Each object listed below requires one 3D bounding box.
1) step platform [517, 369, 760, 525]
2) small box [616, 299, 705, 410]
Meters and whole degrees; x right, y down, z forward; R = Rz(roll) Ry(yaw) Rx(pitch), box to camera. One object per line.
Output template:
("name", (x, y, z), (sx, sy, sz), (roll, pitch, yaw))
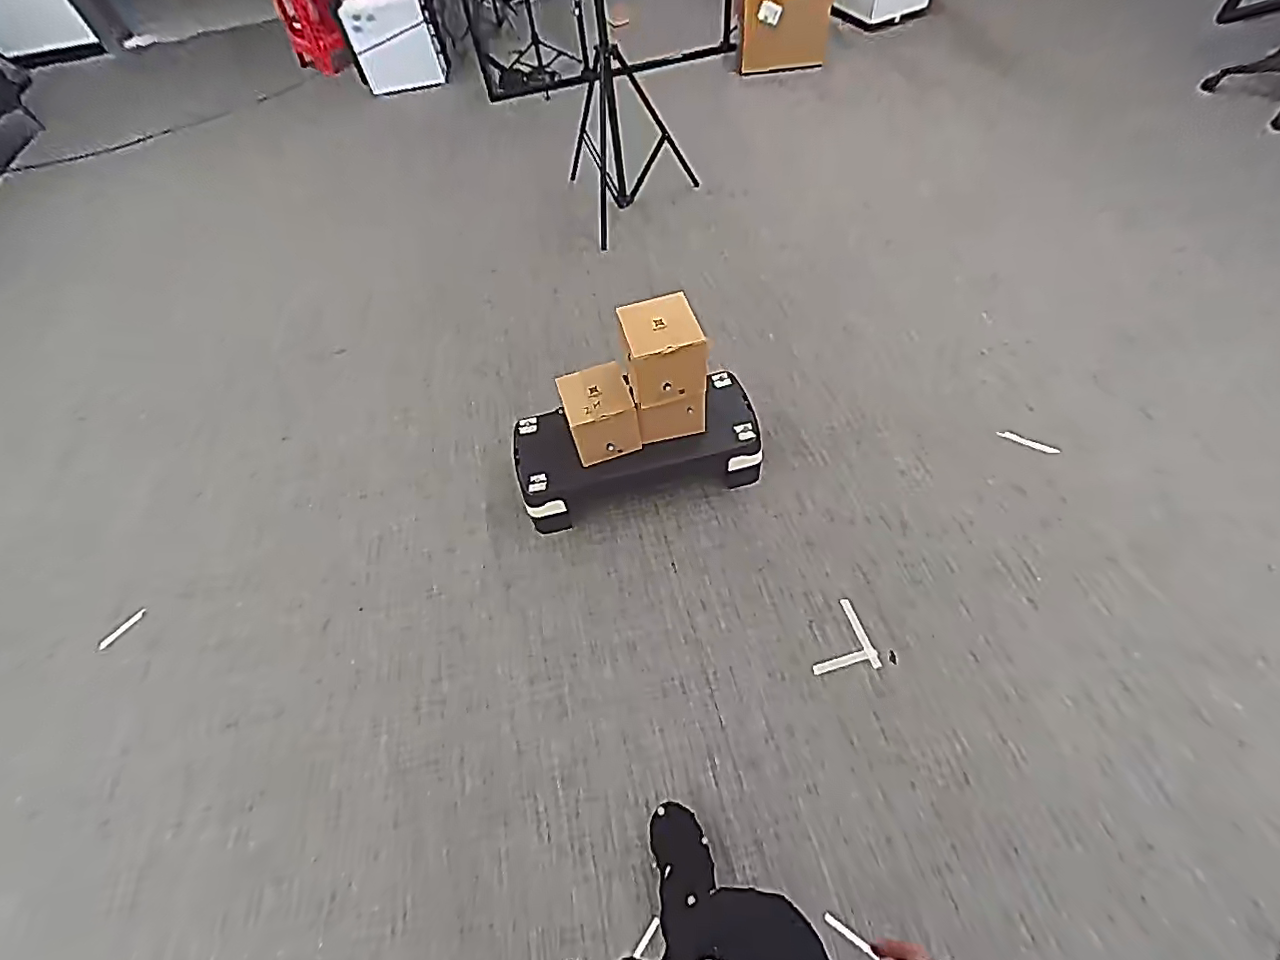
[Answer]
("step platform", (-0.006, -0.101, 1.567), (0.684, 0.204, 0.286), (-15, 56, -2))
("small box", (0.048, -0.295, 1.285), (0.168, 0.176, 0.179), (-16, 57, -5))
